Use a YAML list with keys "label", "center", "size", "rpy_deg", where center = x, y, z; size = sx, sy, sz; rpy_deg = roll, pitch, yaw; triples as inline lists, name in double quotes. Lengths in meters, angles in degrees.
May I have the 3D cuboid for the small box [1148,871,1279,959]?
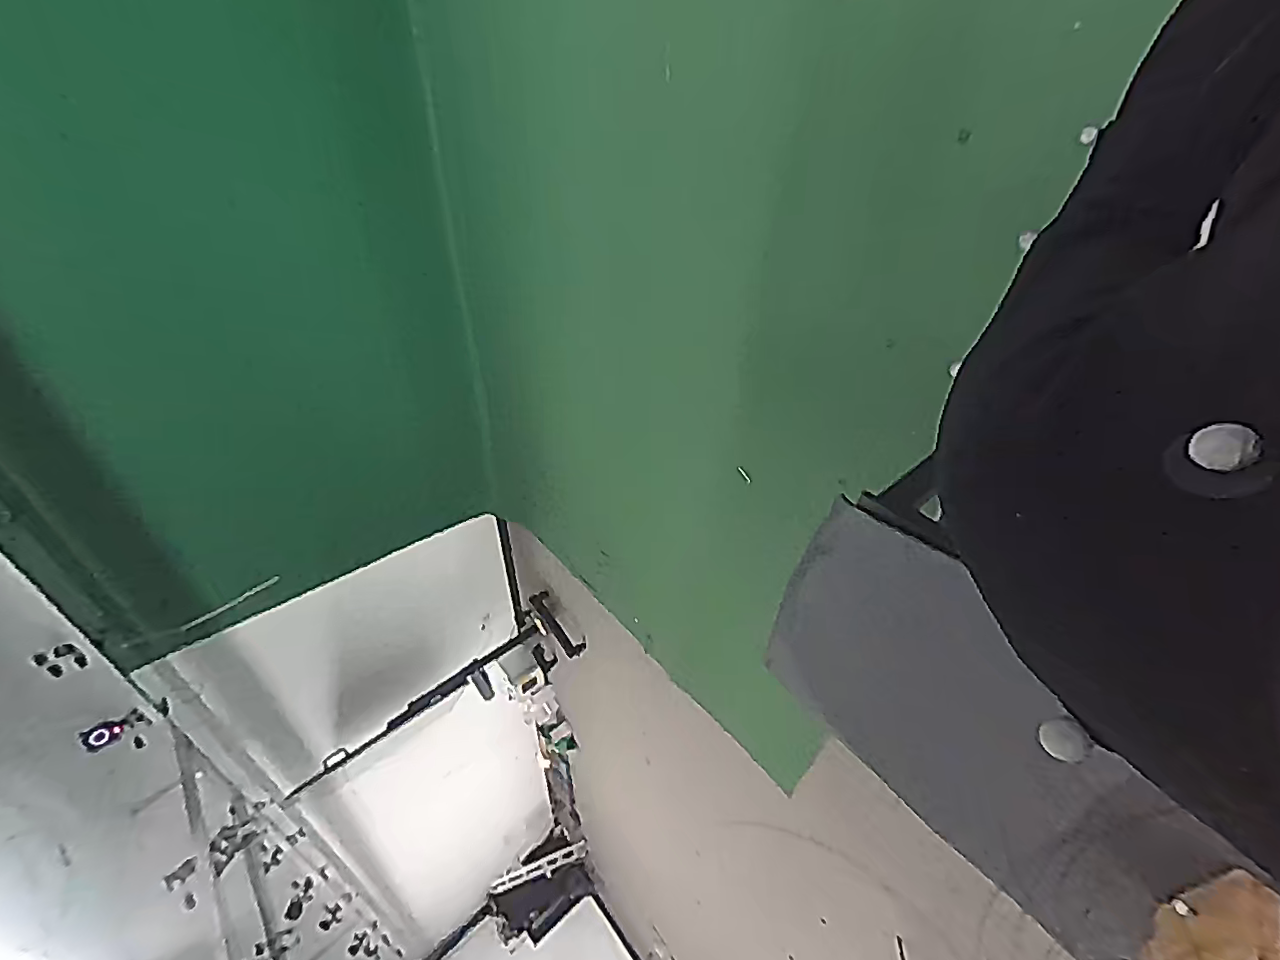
- label: "small box"
  center: [0.750, 0.619, 0.634]
  size: [0.179, 0.176, 0.168]
  rpy_deg: [38, 140, 37]
